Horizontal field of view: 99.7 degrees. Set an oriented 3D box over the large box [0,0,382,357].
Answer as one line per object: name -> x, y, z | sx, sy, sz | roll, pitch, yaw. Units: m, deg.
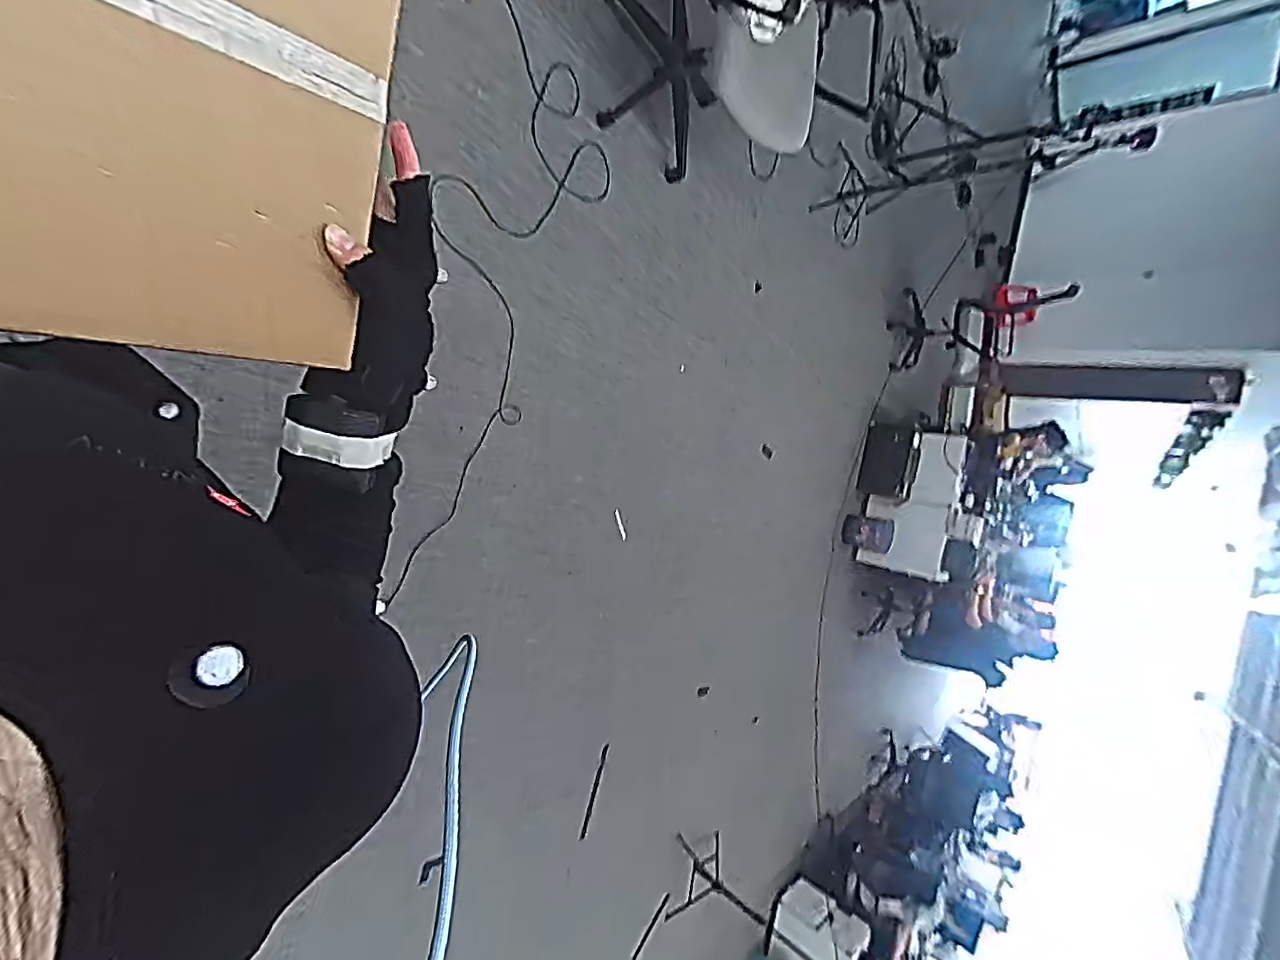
large box -> -0.395, -0.272, 0.264 | 0.408, 0.320, 0.320 | -3, 118, -46
